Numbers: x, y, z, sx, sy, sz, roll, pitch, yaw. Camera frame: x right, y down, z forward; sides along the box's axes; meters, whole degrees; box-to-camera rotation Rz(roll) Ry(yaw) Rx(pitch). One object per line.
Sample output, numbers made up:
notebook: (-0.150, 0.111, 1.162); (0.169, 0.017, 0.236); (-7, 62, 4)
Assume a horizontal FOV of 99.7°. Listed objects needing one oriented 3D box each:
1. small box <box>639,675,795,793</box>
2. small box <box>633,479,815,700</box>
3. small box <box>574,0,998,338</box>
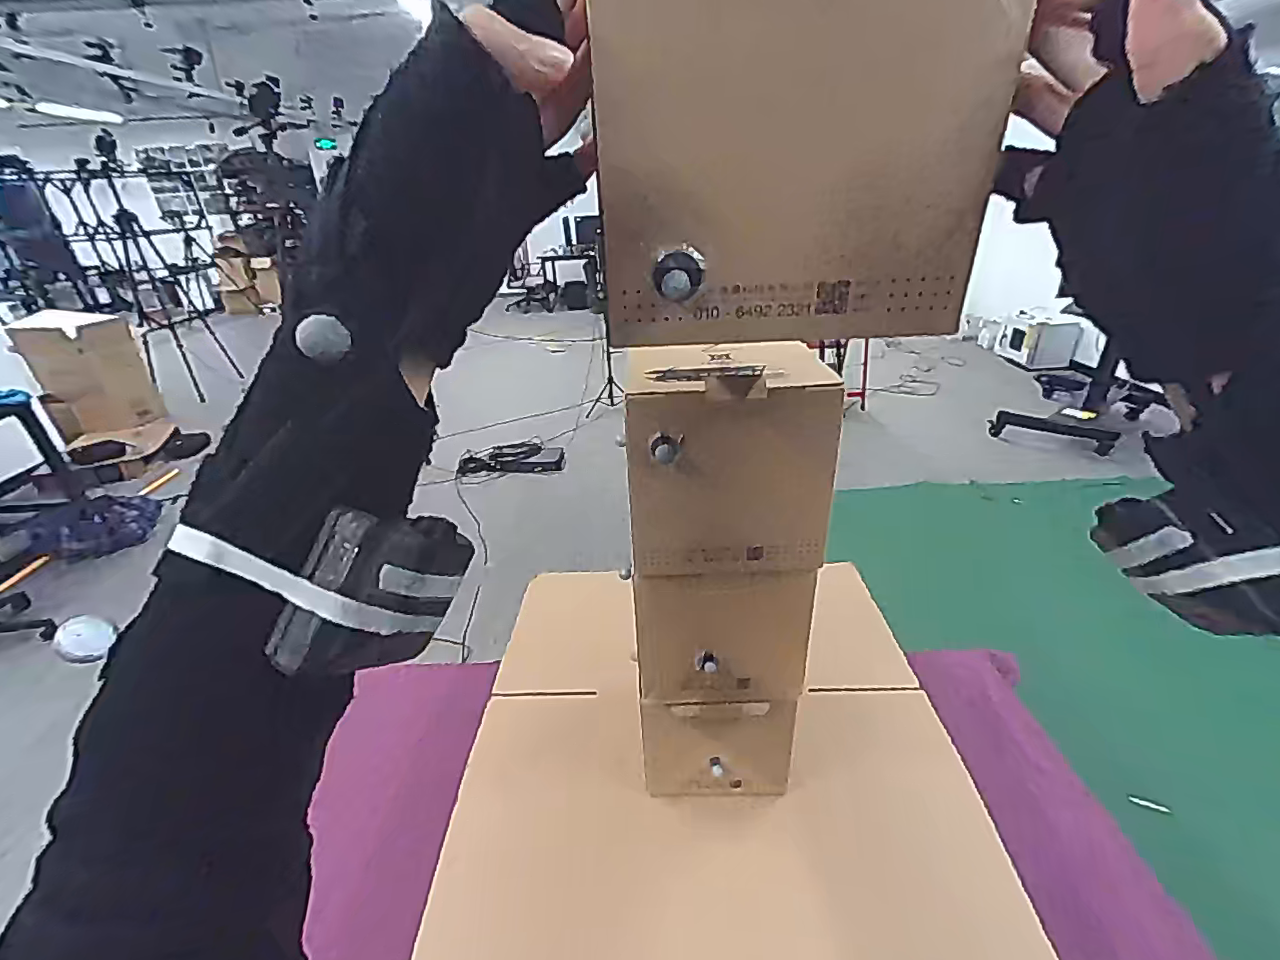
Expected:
small box: (0.087, 0.254, 0.672); (0.168, 0.176, 0.179); (-2, 28, 3)
small box: (0.078, 0.113, 0.591); (0.168, 0.176, 0.179); (-3, 28, 1)
small box: (0.062, -0.178, 0.294); (0.168, 0.176, 0.179); (-2, 29, 2)
